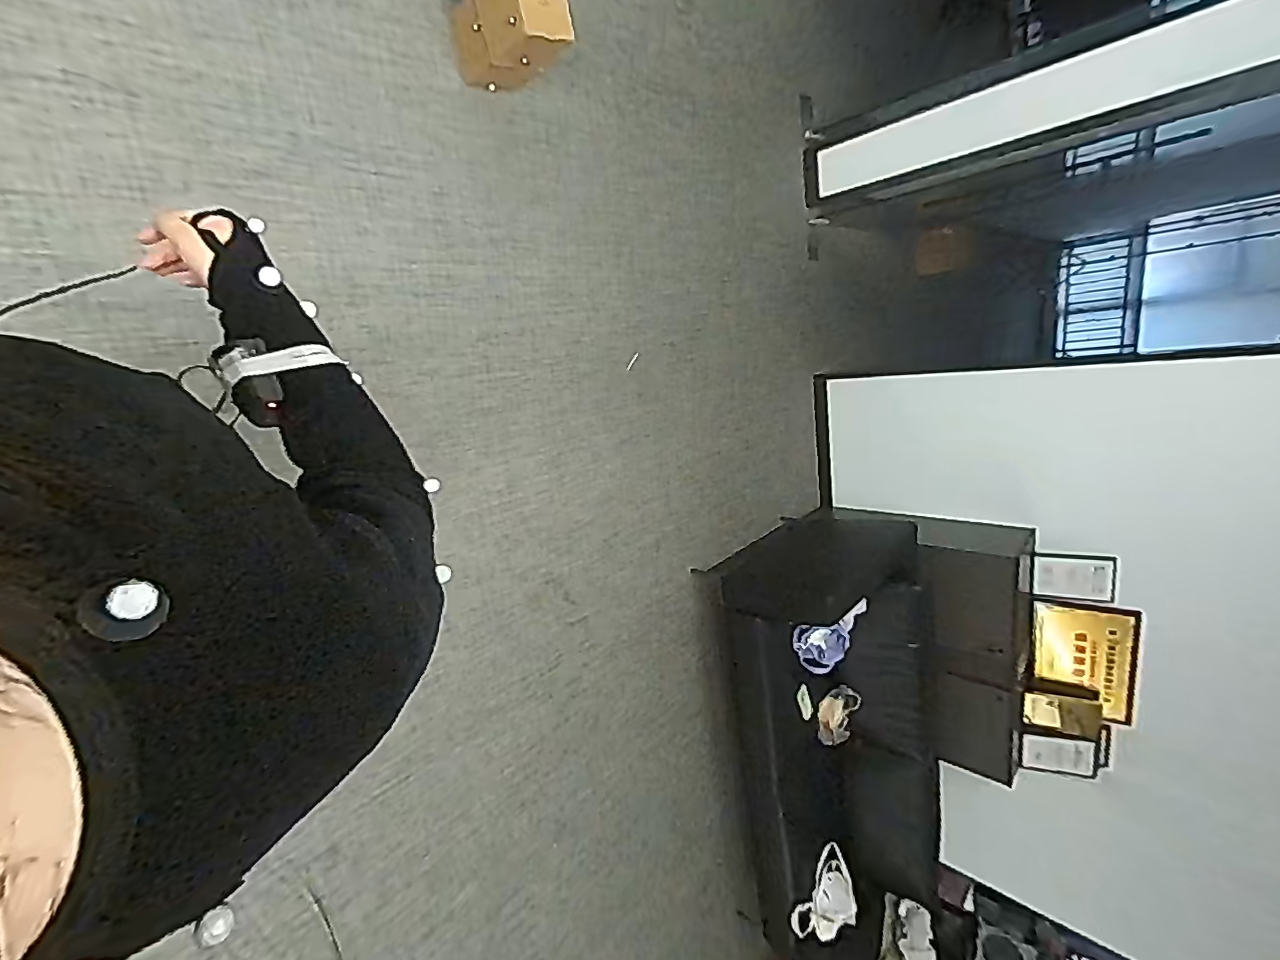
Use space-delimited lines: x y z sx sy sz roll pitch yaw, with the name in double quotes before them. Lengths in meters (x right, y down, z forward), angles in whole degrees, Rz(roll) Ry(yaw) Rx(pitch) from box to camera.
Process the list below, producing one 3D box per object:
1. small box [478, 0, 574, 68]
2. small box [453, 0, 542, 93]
"small box" -0.304 -1.222 1.413 0.168 0.176 0.179 -30 116 -39
"small box" -0.408 -1.245 1.536 0.168 0.176 0.179 -23 112 -40
